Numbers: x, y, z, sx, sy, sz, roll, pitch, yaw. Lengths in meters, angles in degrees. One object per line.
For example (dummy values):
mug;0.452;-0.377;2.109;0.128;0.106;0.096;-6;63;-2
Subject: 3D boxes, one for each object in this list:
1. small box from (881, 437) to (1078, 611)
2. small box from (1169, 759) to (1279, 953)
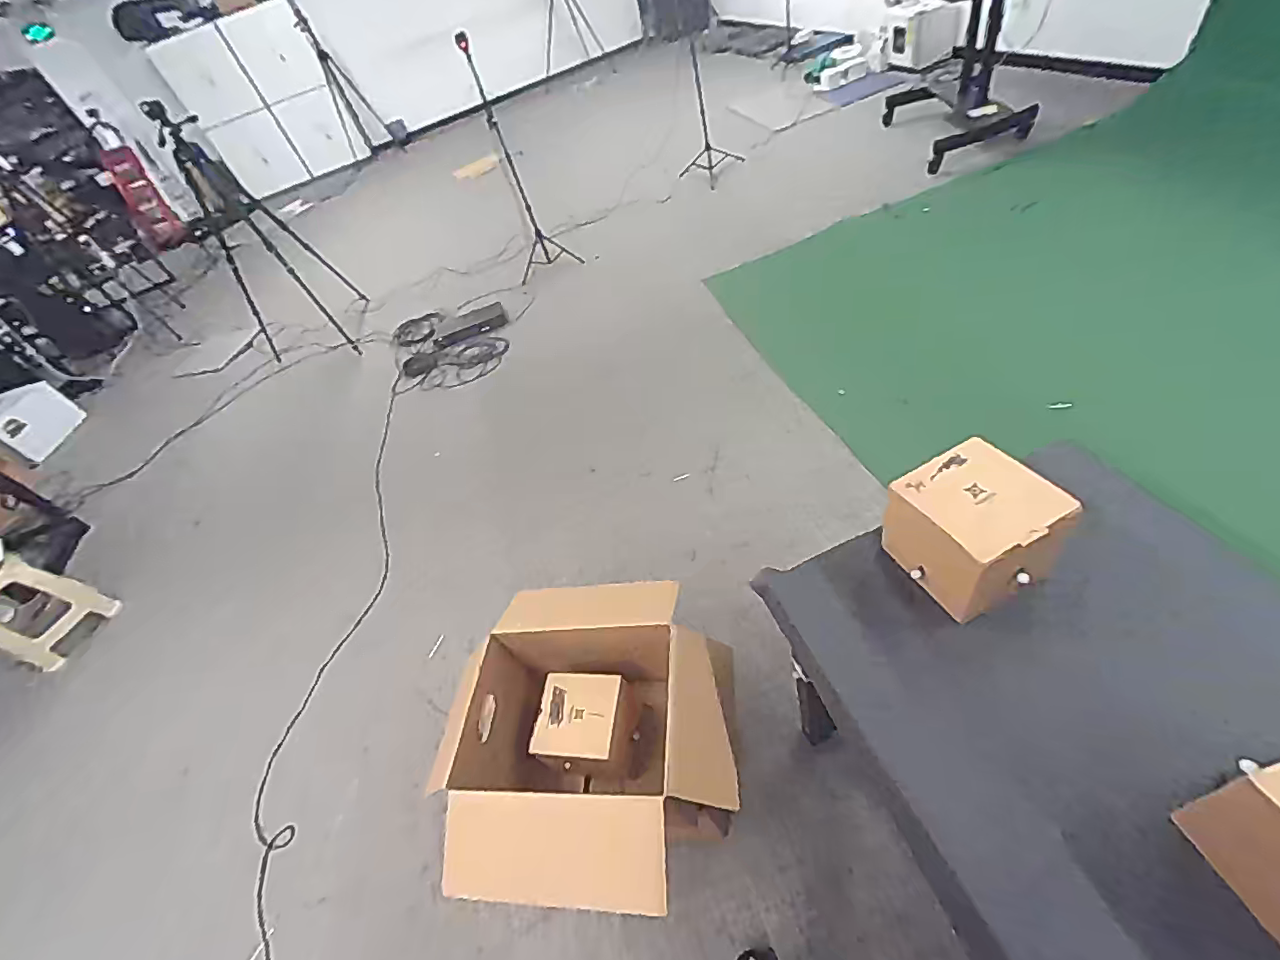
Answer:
small box;0.494;0.074;0.819;0.168;0.176;0.179;-27;47;-6
small box;0.671;0.357;0.498;0.168;0.176;0.179;-20;44;-1
